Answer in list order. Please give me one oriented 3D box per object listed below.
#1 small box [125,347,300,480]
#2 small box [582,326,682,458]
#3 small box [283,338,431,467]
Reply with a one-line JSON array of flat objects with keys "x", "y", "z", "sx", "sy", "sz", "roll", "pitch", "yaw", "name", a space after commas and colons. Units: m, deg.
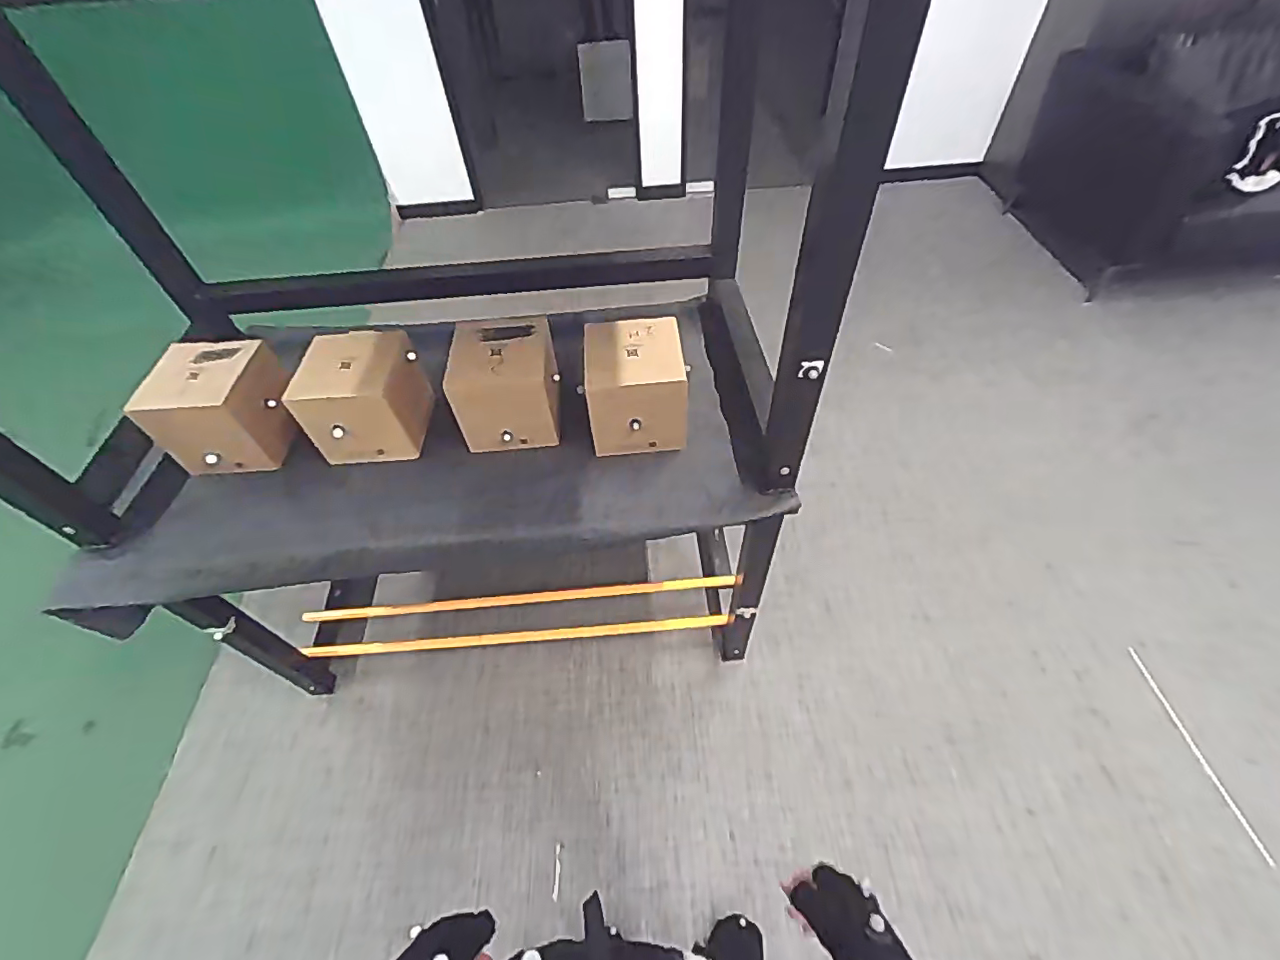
[{"x": -0.755, "y": -0.120, "z": 0.988, "sx": 0.168, "sy": 0.176, "sz": 0.179, "roll": -4, "pitch": 51, "yaw": 0, "name": "small box"}, {"x": -0.013, "y": -0.153, "z": 0.978, "sx": 0.168, "sy": 0.176, "sz": 0.179, "roll": -4, "pitch": 50, "yaw": -1, "name": "small box"}, {"x": -0.503, "y": -0.136, "z": 0.993, "sx": 0.168, "sy": 0.176, "sz": 0.179, "roll": -4, "pitch": 50, "yaw": 0, "name": "small box"}]
